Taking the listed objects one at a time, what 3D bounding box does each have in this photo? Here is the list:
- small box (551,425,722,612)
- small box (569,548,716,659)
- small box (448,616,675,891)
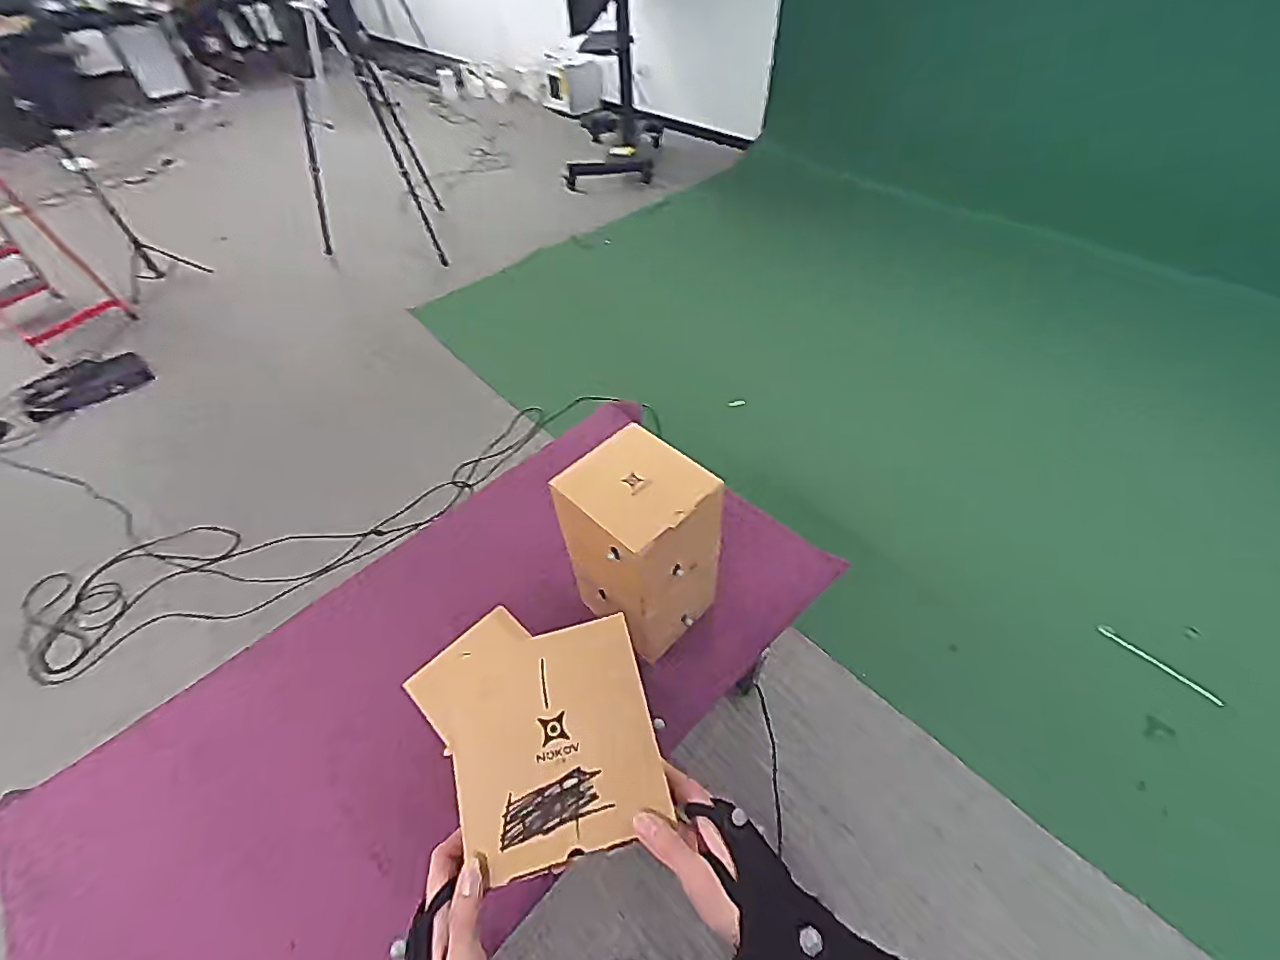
[{"bbox_3d":[-0.004,0.058,0.786,0.179,0.176,0.168,36,59,29],"label":"small box"},{"bbox_3d":[0.006,0.165,0.908,0.168,0.176,0.179,-38,57,-25],"label":"small box"},{"bbox_3d":[-0.071,0.249,0.519,0.168,0.176,0.179,-12,65,-8],"label":"small box"}]
